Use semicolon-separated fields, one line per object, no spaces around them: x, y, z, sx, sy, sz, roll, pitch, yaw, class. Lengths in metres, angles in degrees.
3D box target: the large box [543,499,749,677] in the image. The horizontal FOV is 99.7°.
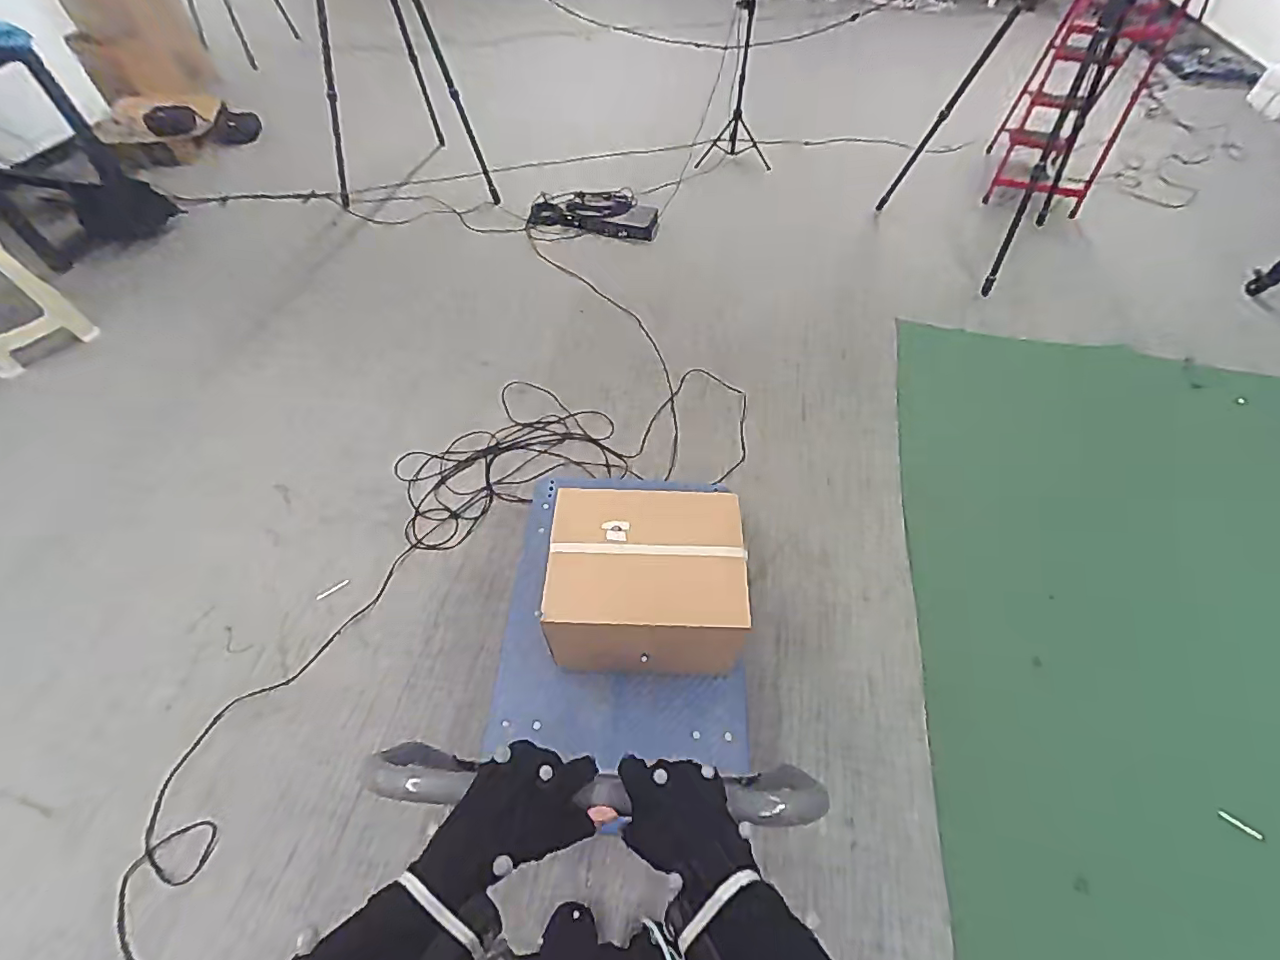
0.017;0.255;1.244;0.408;0.320;0.320;1;53;2;large box
